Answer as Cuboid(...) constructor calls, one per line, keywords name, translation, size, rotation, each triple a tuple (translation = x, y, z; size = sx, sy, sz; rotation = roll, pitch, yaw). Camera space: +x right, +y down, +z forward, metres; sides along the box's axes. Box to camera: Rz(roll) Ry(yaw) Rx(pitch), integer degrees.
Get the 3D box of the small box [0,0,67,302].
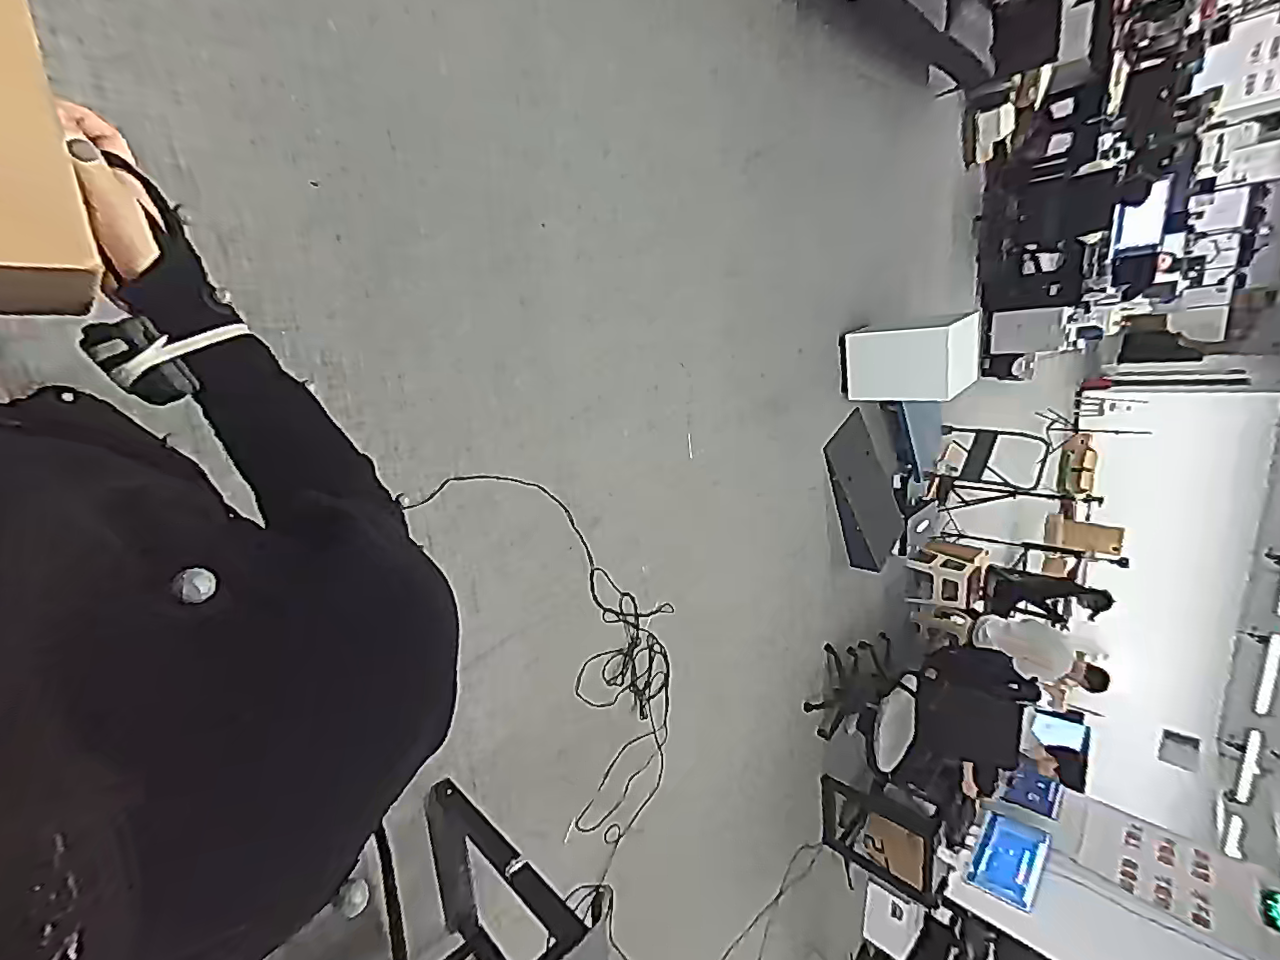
Cuboid(name="small box", translation=(-0.428, -0.194, 0.275), size=(0.168, 0.176, 0.179), rotation=(-15, 105, -47))
